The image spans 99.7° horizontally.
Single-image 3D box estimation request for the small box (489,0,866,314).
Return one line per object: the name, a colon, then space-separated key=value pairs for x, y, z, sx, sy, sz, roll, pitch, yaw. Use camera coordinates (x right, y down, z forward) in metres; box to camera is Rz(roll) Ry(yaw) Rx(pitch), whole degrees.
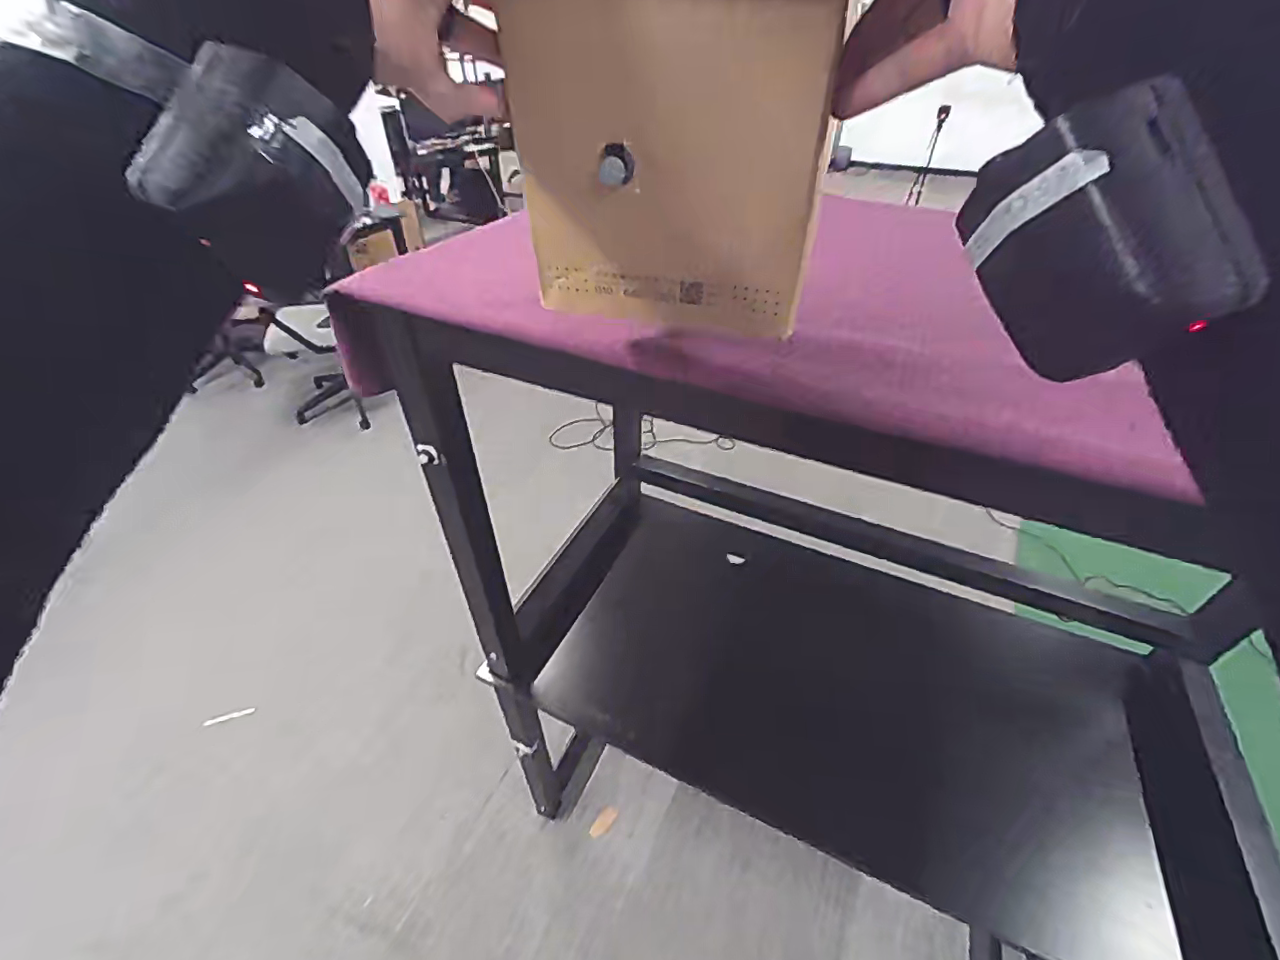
small box: x=0.036 y=-0.221 z=0.330 sx=0.168 sy=0.176 sz=0.179 roll=13 pitch=47 yaw=14
